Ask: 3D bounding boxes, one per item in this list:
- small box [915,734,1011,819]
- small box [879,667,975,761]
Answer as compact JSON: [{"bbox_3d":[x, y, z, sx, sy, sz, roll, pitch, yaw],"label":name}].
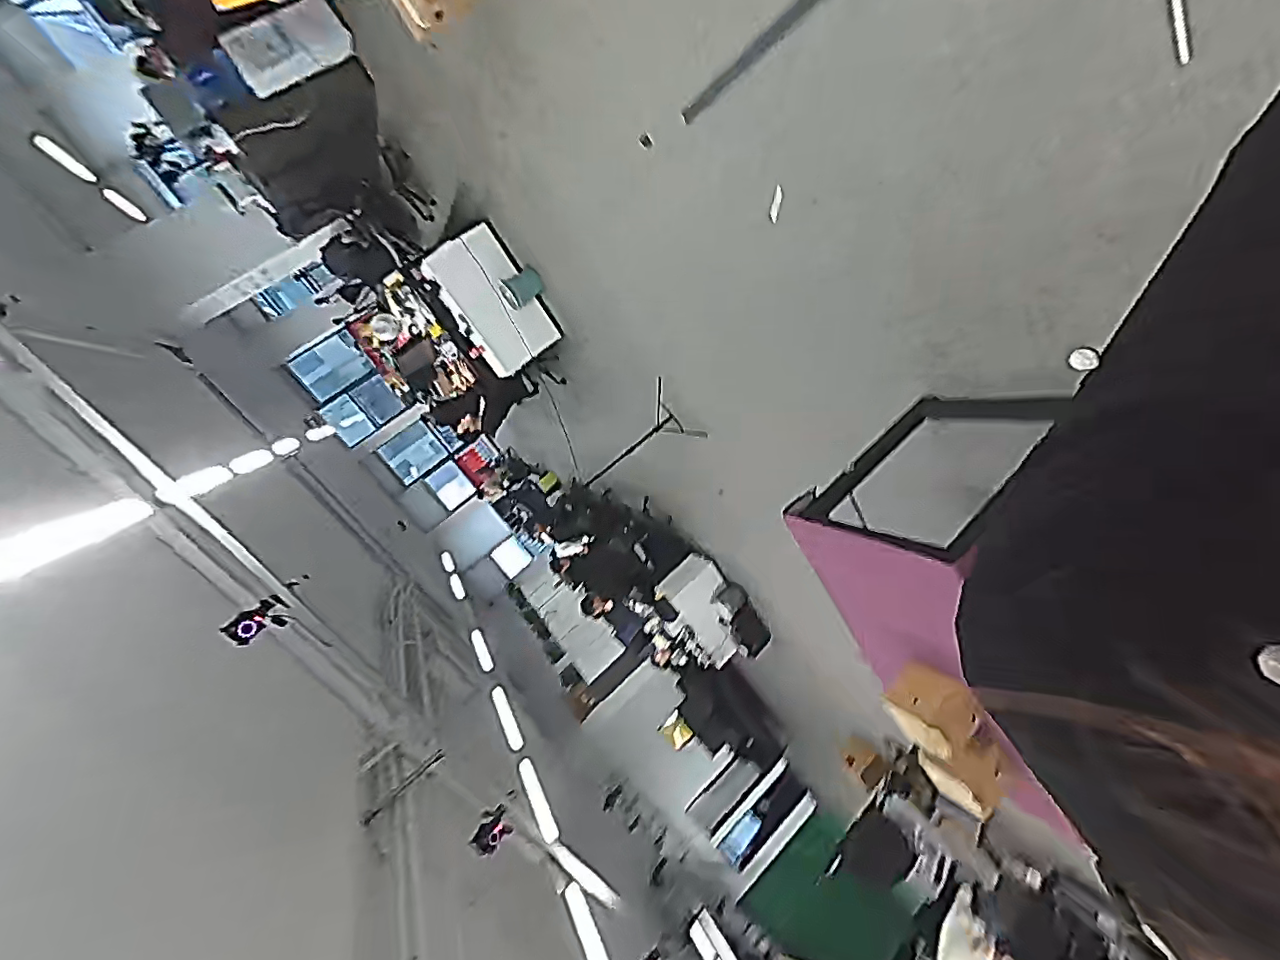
[{"bbox_3d":[1.043,0.931,1.745,0.168,0.176,0.179,54,164,-13],"label":"small box"},{"bbox_3d":[0.889,0.709,1.663,0.168,0.176,0.179,54,165,-11],"label":"small box"}]
